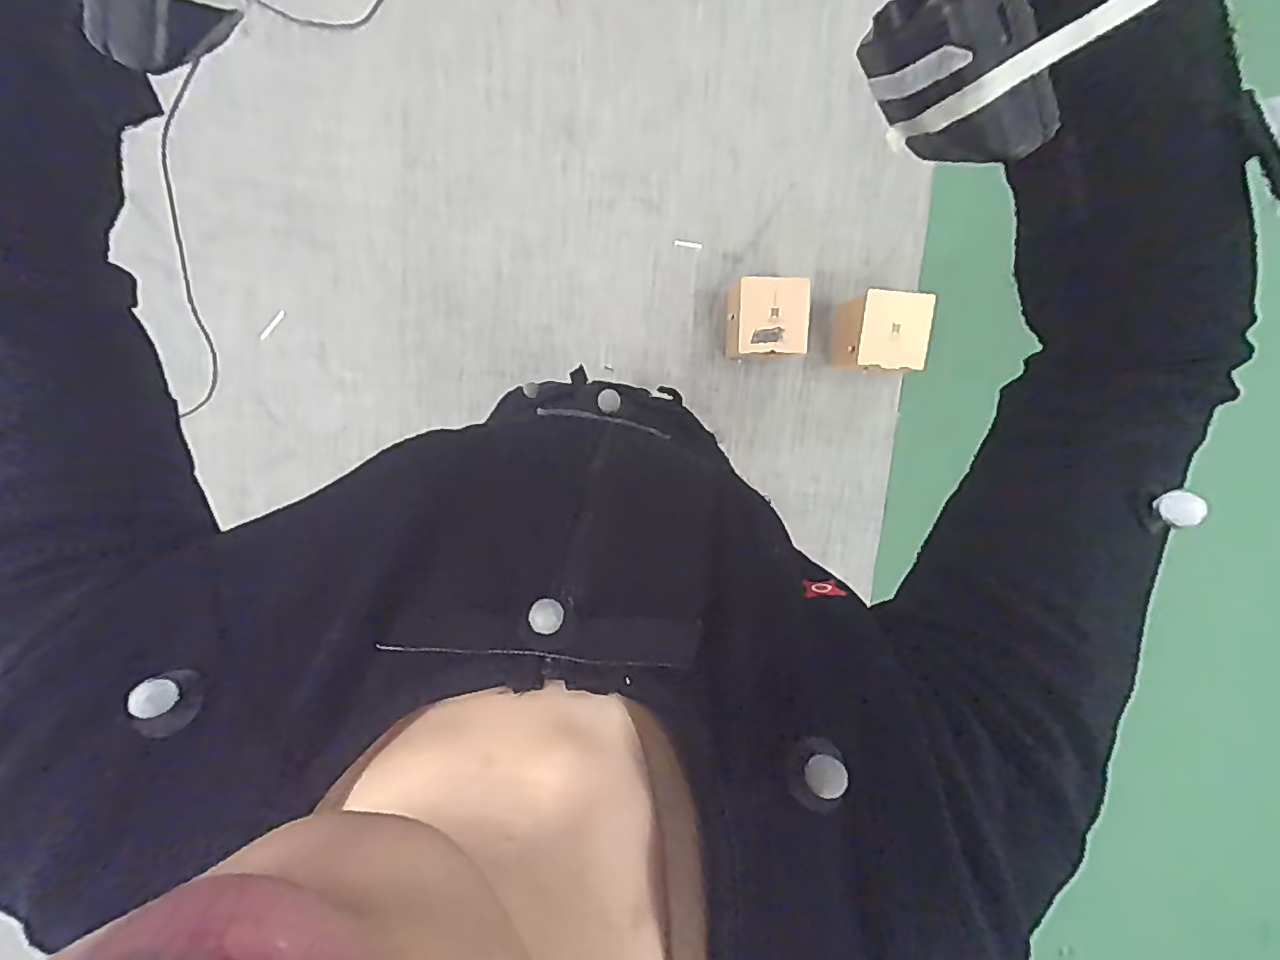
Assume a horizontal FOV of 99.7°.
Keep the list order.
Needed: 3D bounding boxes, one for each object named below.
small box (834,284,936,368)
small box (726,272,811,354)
[{"bbox_3d":[0.601,-0.378,1.348,0.168,0.176,0.179,4,100,-1],"label":"small box"},{"bbox_3d":[0.310,-0.405,1.334,0.168,0.176,0.179,0,99,-2],"label":"small box"}]
